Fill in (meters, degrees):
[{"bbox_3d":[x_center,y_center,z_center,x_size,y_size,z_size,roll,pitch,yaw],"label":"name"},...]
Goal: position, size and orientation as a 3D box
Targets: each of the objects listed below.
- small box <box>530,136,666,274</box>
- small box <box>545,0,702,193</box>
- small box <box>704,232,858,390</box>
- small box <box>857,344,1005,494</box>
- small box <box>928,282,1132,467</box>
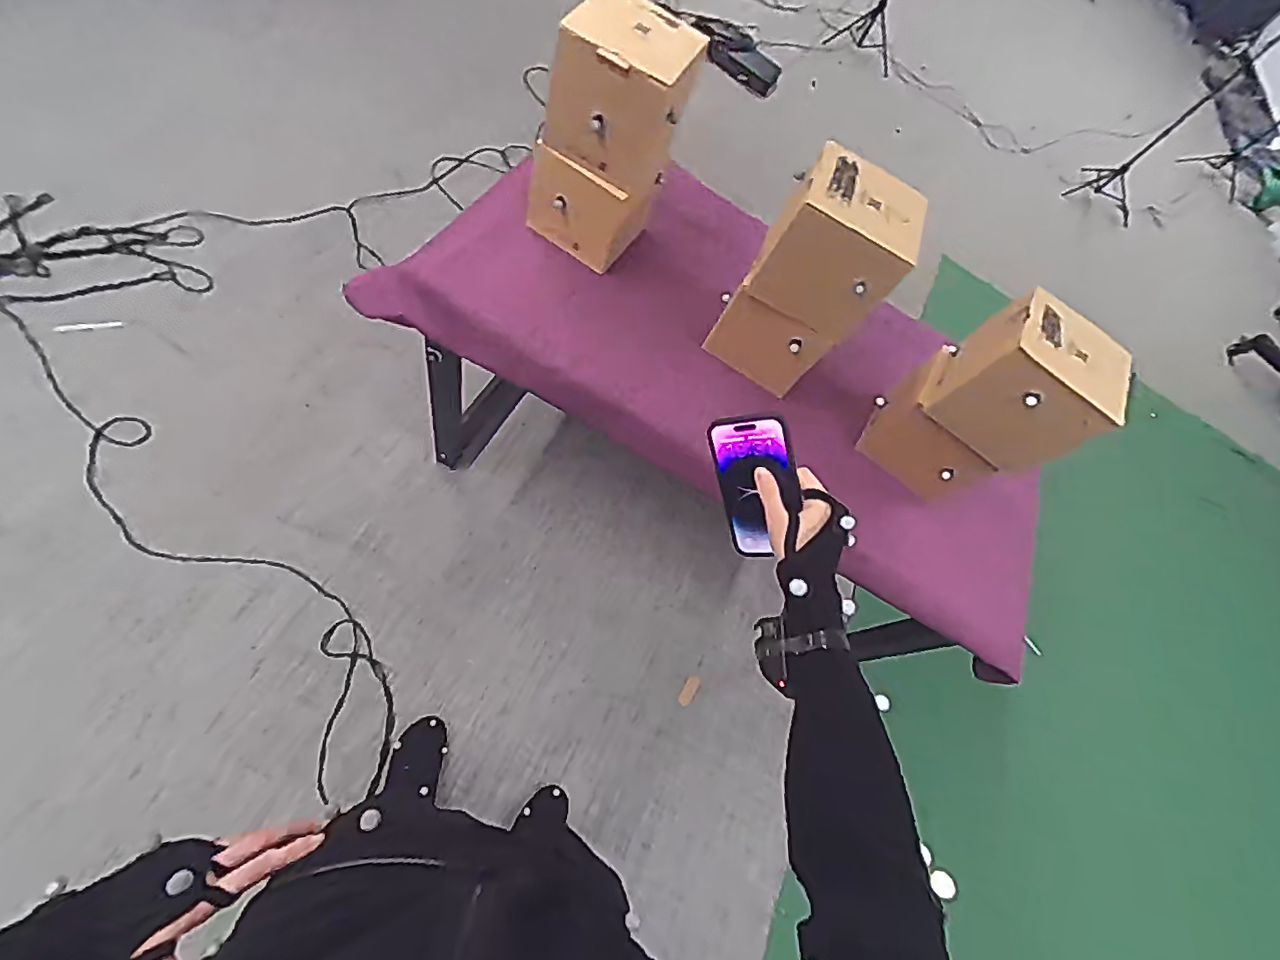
[{"bbox_3d":[-0.081,-0.505,0.956,0.168,0.176,0.179,32,60,-1],"label":"small box"},{"bbox_3d":[-0.032,-0.580,0.818,0.168,0.176,0.179,28,61,-4],"label":"small box"},{"bbox_3d":[0.242,-0.285,0.953,0.179,0.176,0.168,32,60,-1],"label":"small box"},{"bbox_3d":[0.525,-0.096,0.955,0.179,0.176,0.168,37,60,2],"label":"small box"},{"bbox_3d":[0.572,-0.149,0.806,0.179,0.176,0.168,37,60,1],"label":"small box"}]
